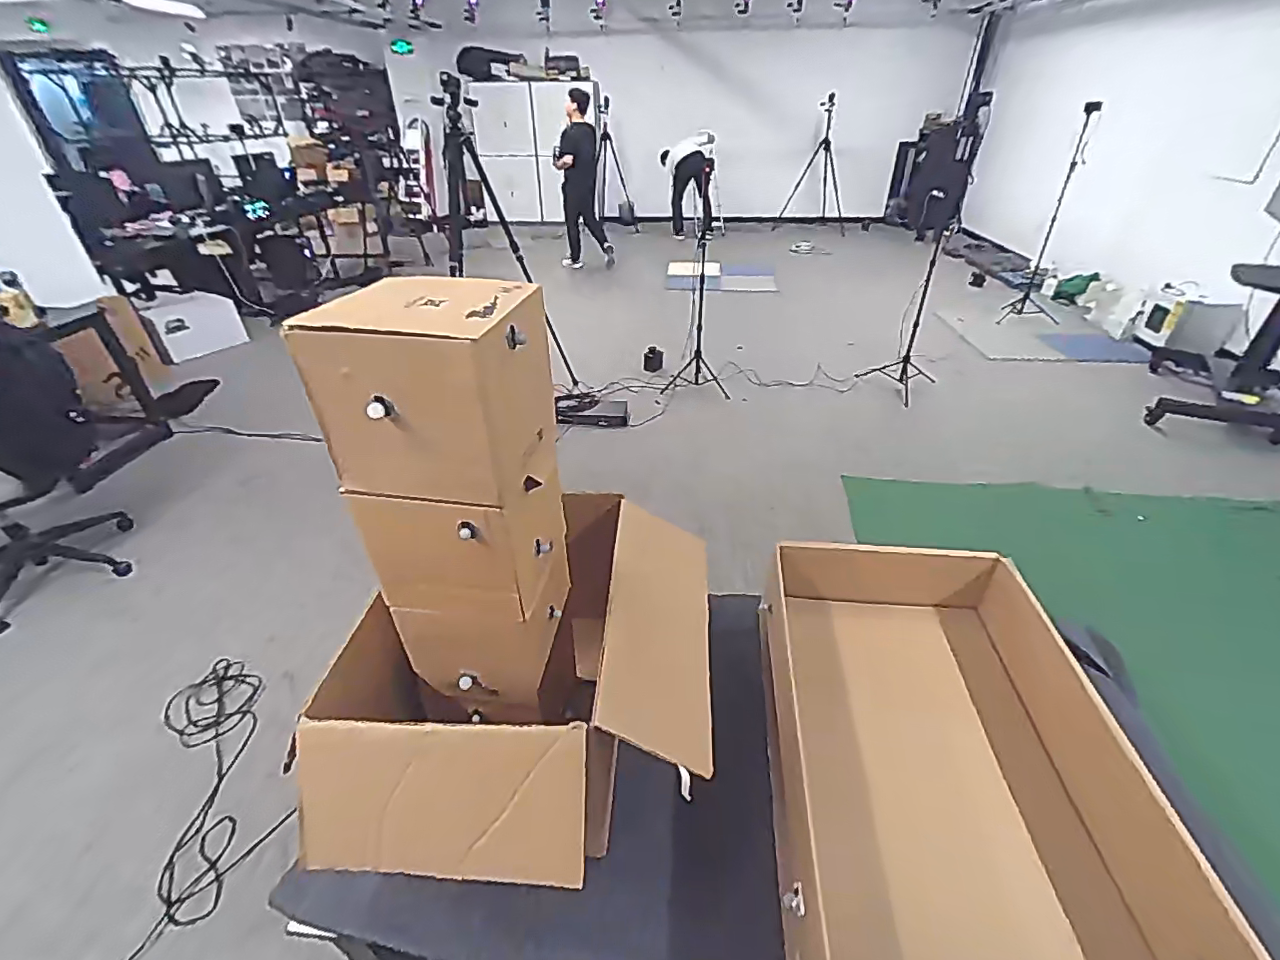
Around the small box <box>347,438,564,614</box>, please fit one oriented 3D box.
[{"bbox_3d":[-0.200,0.039,0.644,0.179,0.176,0.168,5,36,7],"label":"small box"}]

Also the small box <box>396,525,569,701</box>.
[{"bbox_3d":[-0.197,0.169,0.740,0.168,0.176,0.179,5,37,7],"label":"small box"}]

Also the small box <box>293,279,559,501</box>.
[{"bbox_3d":[-0.193,-0.094,0.548,0.179,0.176,0.168,5,36,8],"label":"small box"}]
